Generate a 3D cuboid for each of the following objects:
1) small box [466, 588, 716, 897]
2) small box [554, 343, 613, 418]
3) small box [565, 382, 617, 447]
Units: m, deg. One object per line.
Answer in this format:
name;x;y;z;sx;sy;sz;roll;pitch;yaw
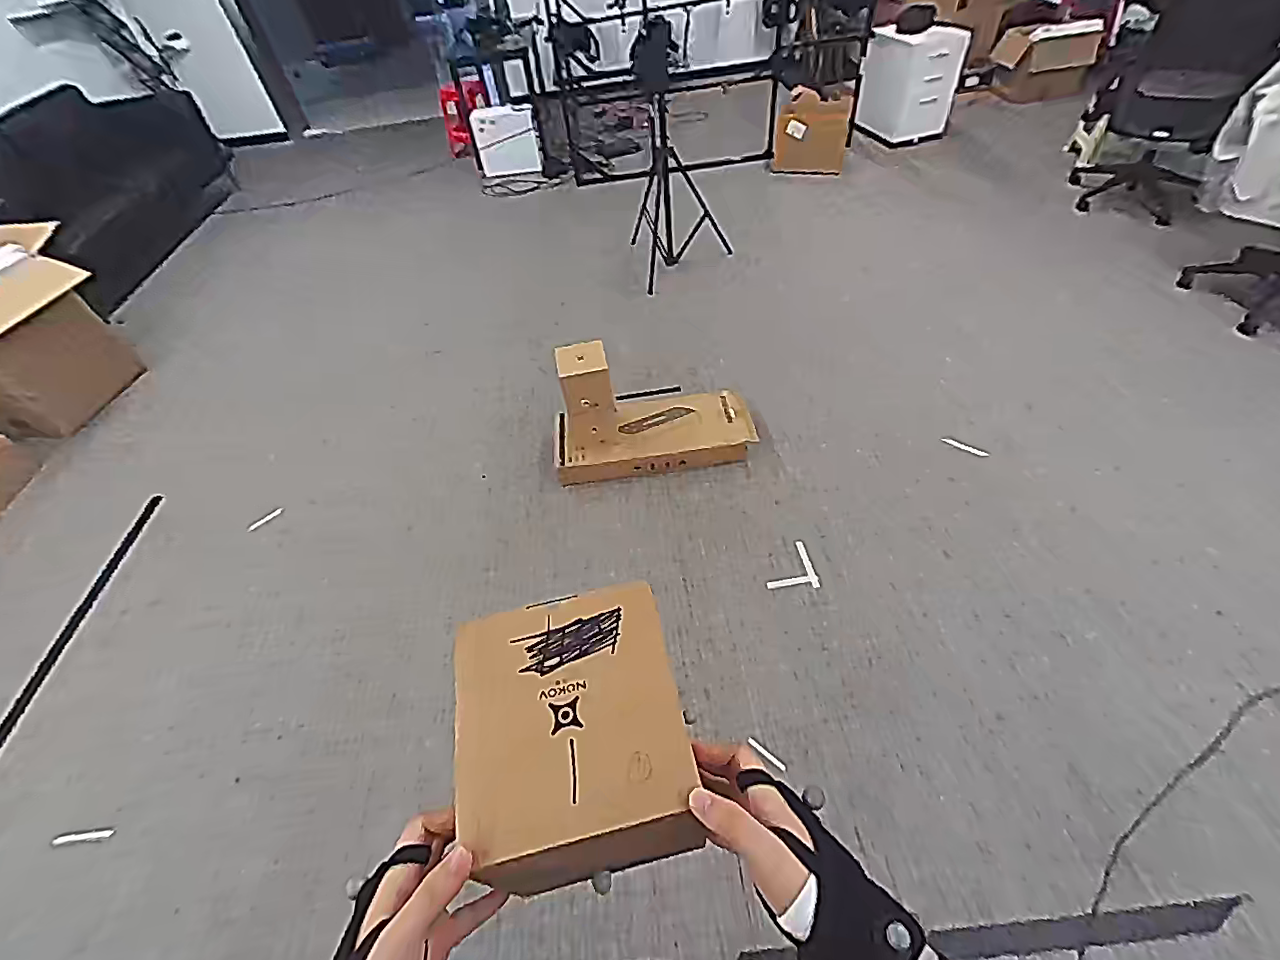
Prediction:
small box;-0.041;0.224;0.462;0.168;0.176;0.179;-13;49;-5
small box;-0.194;-0.342;1.862;0.168;0.176;0.179;-12;48;-4
small box;-0.176;-0.234;1.983;0.168;0.176;0.179;-6;48;0
